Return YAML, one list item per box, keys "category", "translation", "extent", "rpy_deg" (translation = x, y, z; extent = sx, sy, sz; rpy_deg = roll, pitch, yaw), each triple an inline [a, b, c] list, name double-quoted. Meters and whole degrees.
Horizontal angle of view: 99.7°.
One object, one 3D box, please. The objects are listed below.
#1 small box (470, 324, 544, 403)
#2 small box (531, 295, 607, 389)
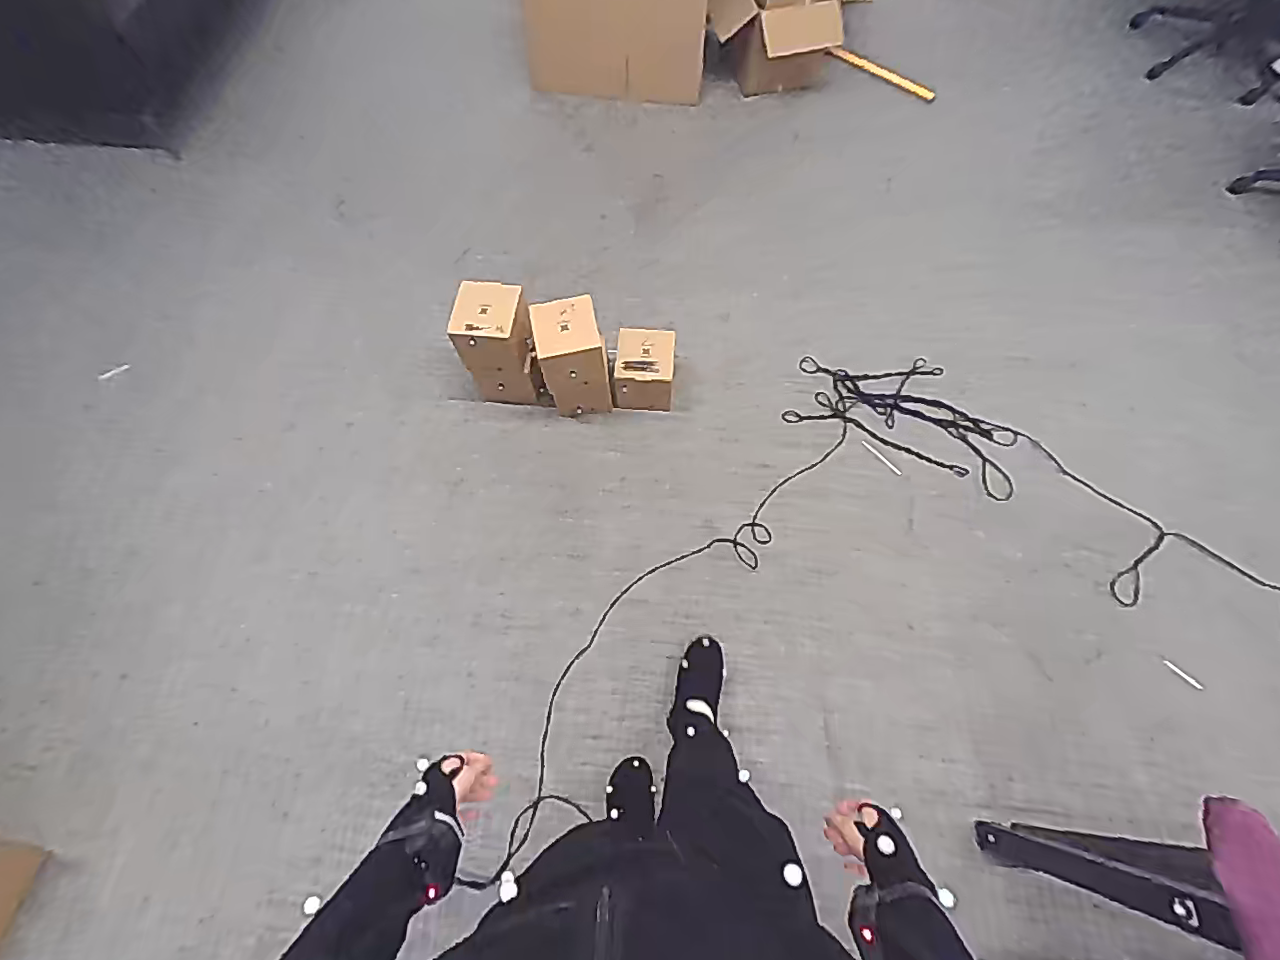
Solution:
- category: "small box"
  translation: [-0.388, -0.346, 1.628]
  extent: [0.179, 0.176, 0.168]
  rpy_deg: [4, 66, 4]
- category: "small box"
  translation: [-0.187, -0.362, 1.454]
  extent: [0.168, 0.176, 0.179]
  rpy_deg: [-12, 66, -3]
